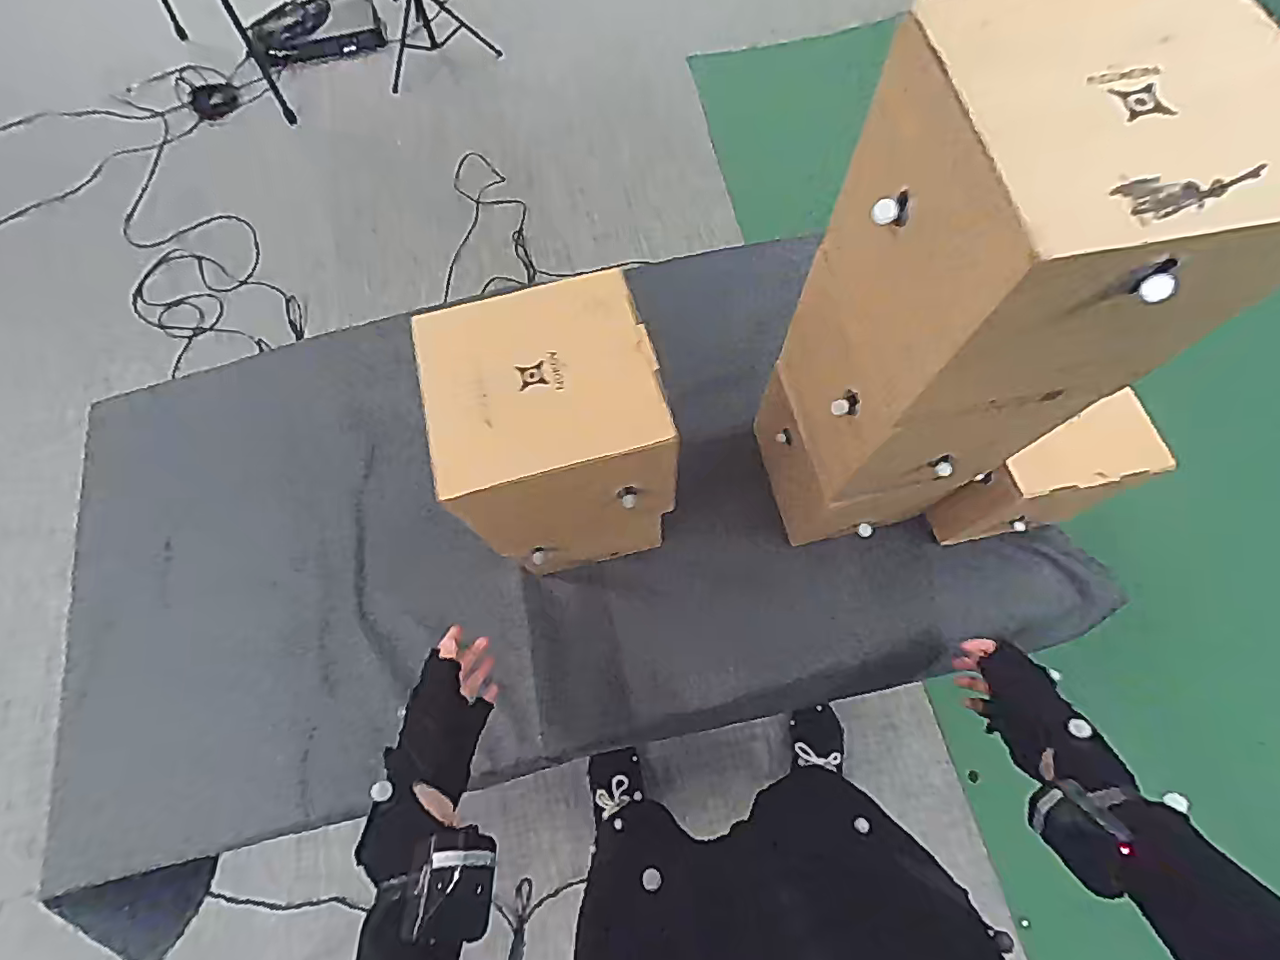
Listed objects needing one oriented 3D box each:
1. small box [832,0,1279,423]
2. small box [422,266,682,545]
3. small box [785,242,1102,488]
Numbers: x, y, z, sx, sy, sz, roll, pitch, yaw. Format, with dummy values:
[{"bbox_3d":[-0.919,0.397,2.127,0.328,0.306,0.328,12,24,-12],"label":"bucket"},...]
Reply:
[{"bbox_3d":[0.239,-0.158,0.337,0.168,0.176,0.179,-9,69,0],"label":"small box"},{"bbox_3d":[-0.070,-0.055,0.488,0.179,0.176,0.168,-15,69,-3],"label":"small box"},{"bbox_3d":[0.247,-0.102,0.492,0.168,0.176,0.179,-11,69,-2],"label":"small box"}]
